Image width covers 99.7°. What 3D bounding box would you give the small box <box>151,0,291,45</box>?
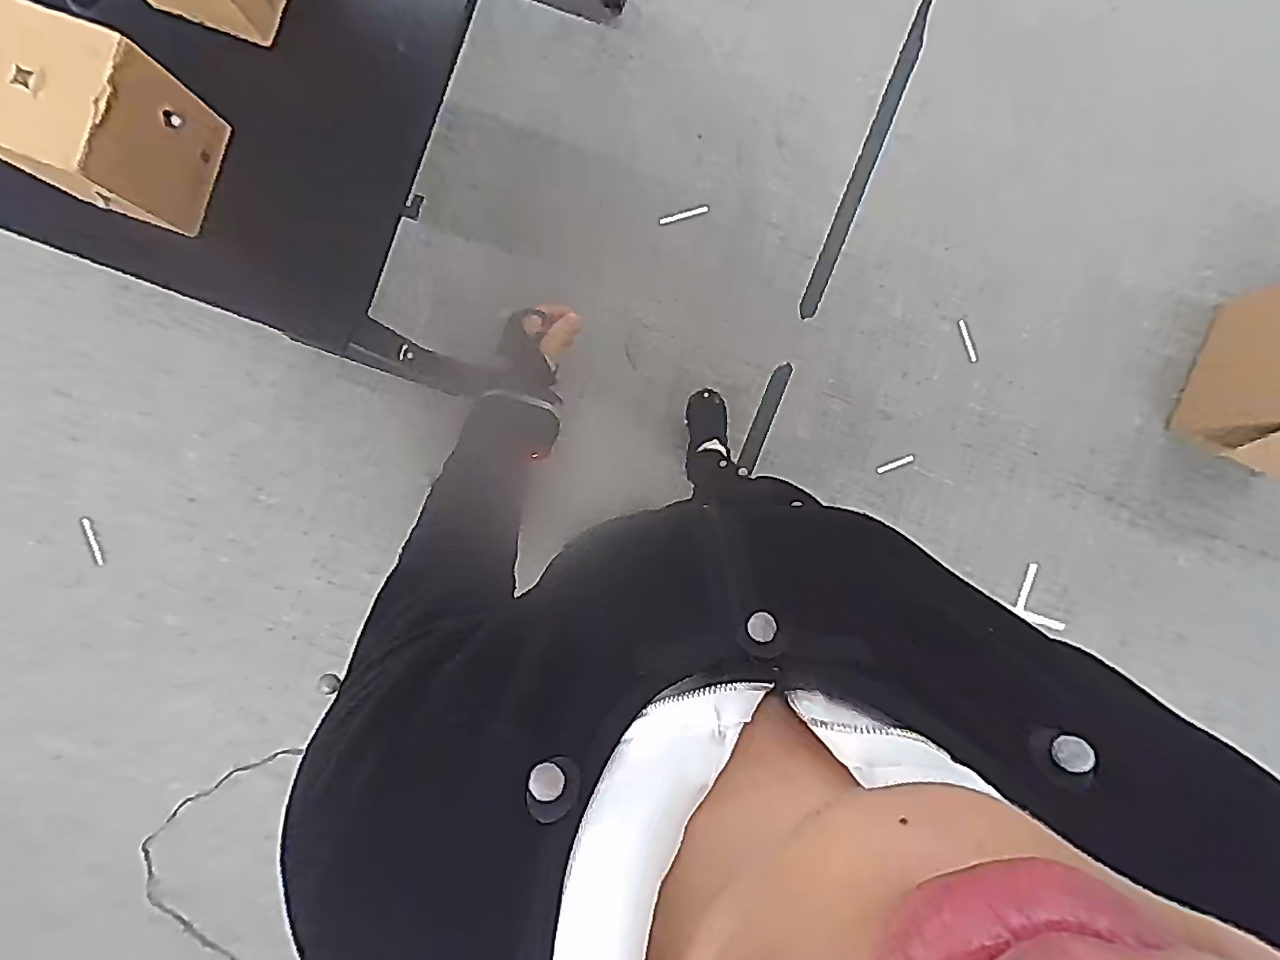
[{"bbox_3d":[-0.575,-0.709,0.684,0.179,0.176,0.168,19,91,-1],"label":"small box"}]

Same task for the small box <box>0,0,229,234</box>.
[{"bbox_3d":[-0.681,-0.442,0.686,0.179,0.176,0.168,18,89,0],"label":"small box"}]
